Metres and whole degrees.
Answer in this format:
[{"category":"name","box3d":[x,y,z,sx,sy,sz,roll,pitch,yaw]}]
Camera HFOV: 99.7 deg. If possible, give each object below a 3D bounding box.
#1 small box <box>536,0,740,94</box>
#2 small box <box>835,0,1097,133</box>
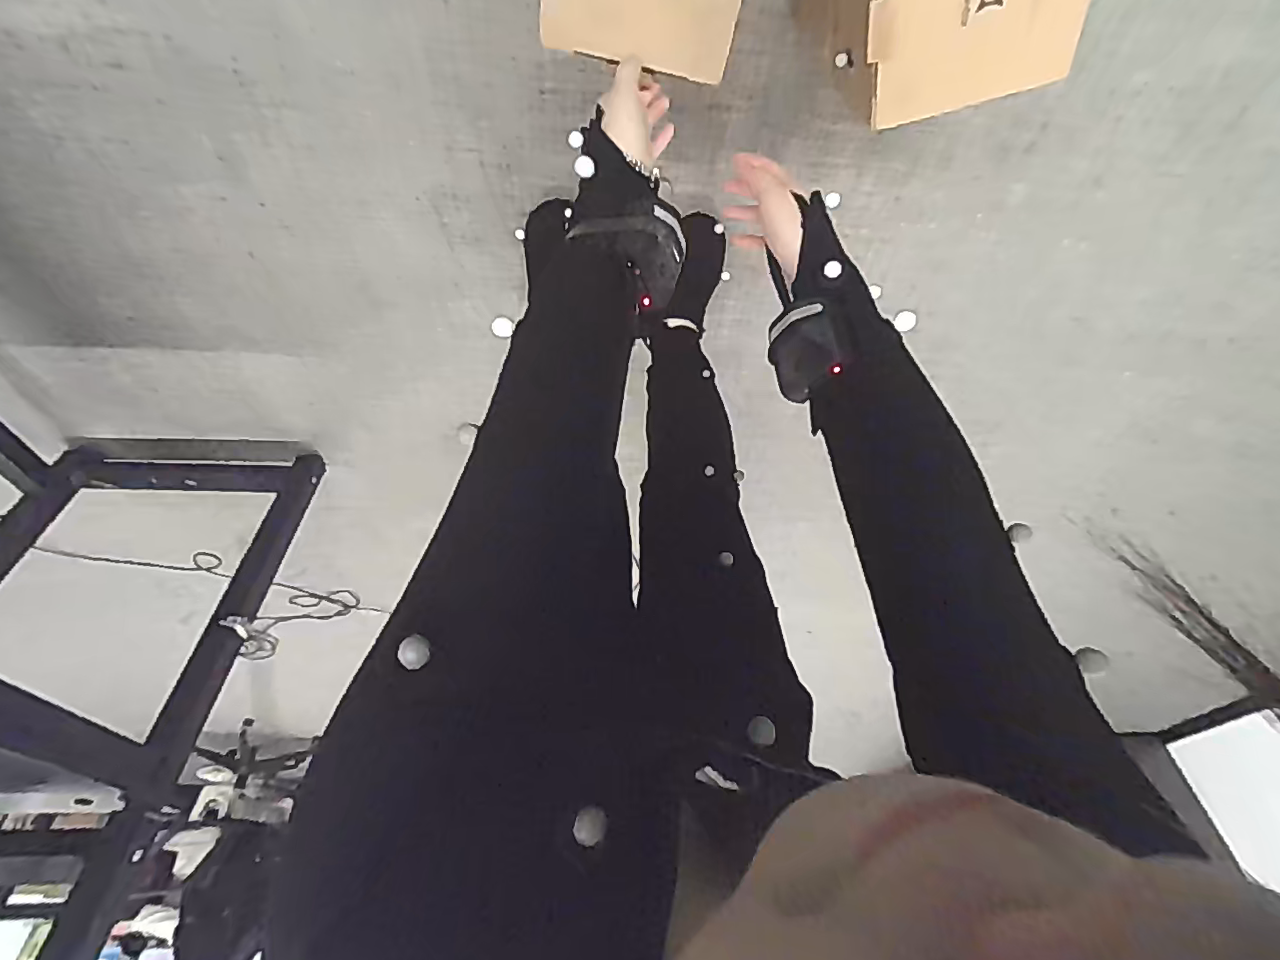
[{"category":"small box","box3d":[0.008,-0.473,0.463,0.168,0.176,0.179,7,138,-8]},{"category":"small box","box3d":[0.284,-0.457,0.492,0.179,0.176,0.168,-12,140,11]}]
